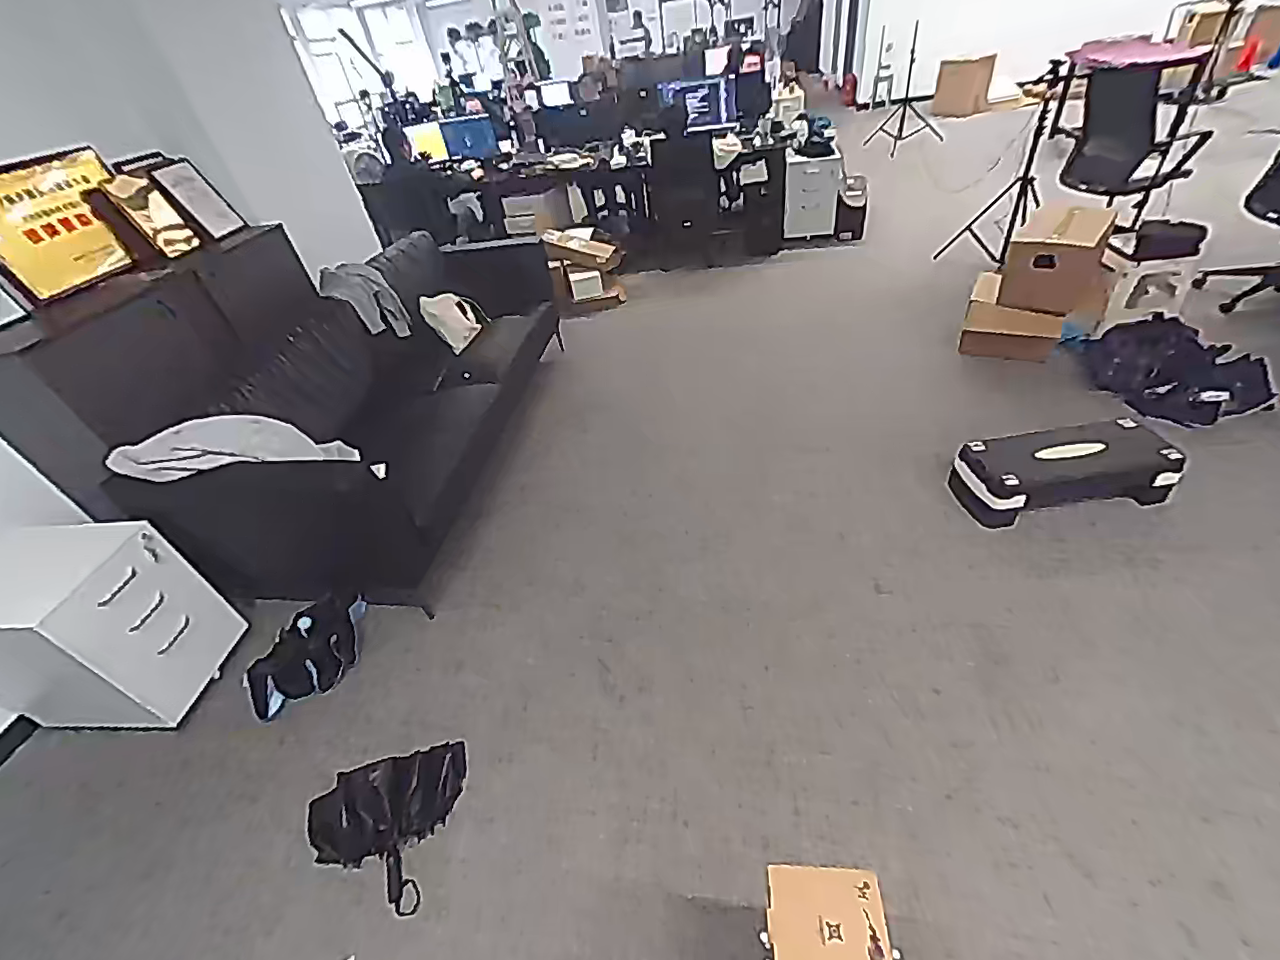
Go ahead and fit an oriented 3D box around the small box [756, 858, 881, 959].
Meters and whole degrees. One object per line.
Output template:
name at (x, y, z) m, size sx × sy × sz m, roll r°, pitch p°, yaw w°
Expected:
small box at (0.288, 0.750, 0.890) m, size 0.179 × 0.176 × 0.168 m, roll -3°, pitch 40°, yaw 10°
